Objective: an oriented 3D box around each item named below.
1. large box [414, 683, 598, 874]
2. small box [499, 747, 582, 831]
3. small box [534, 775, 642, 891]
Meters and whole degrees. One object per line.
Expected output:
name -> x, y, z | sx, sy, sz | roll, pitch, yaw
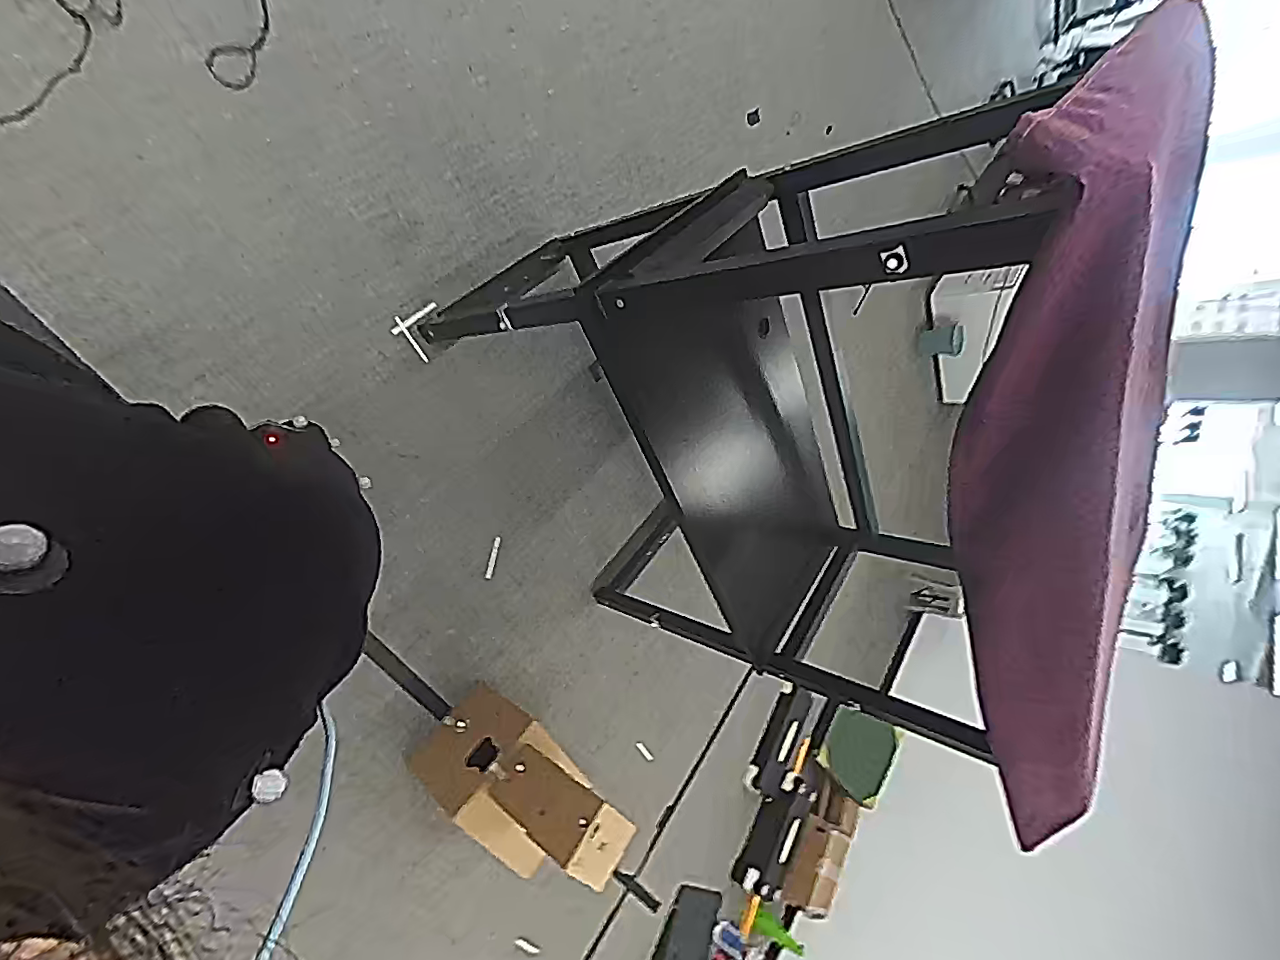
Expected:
large box -> -0.408, 0.909, 1.675 | 0.320, 0.320, 0.408 | -47, 127, -29
small box -> -0.247, 0.870, 1.482 | 0.168, 0.176, 0.179 | -49, 127, -31
small box -> -0.130, 0.885, 1.368 | 0.168, 0.176, 0.179 | -53, 130, -29
